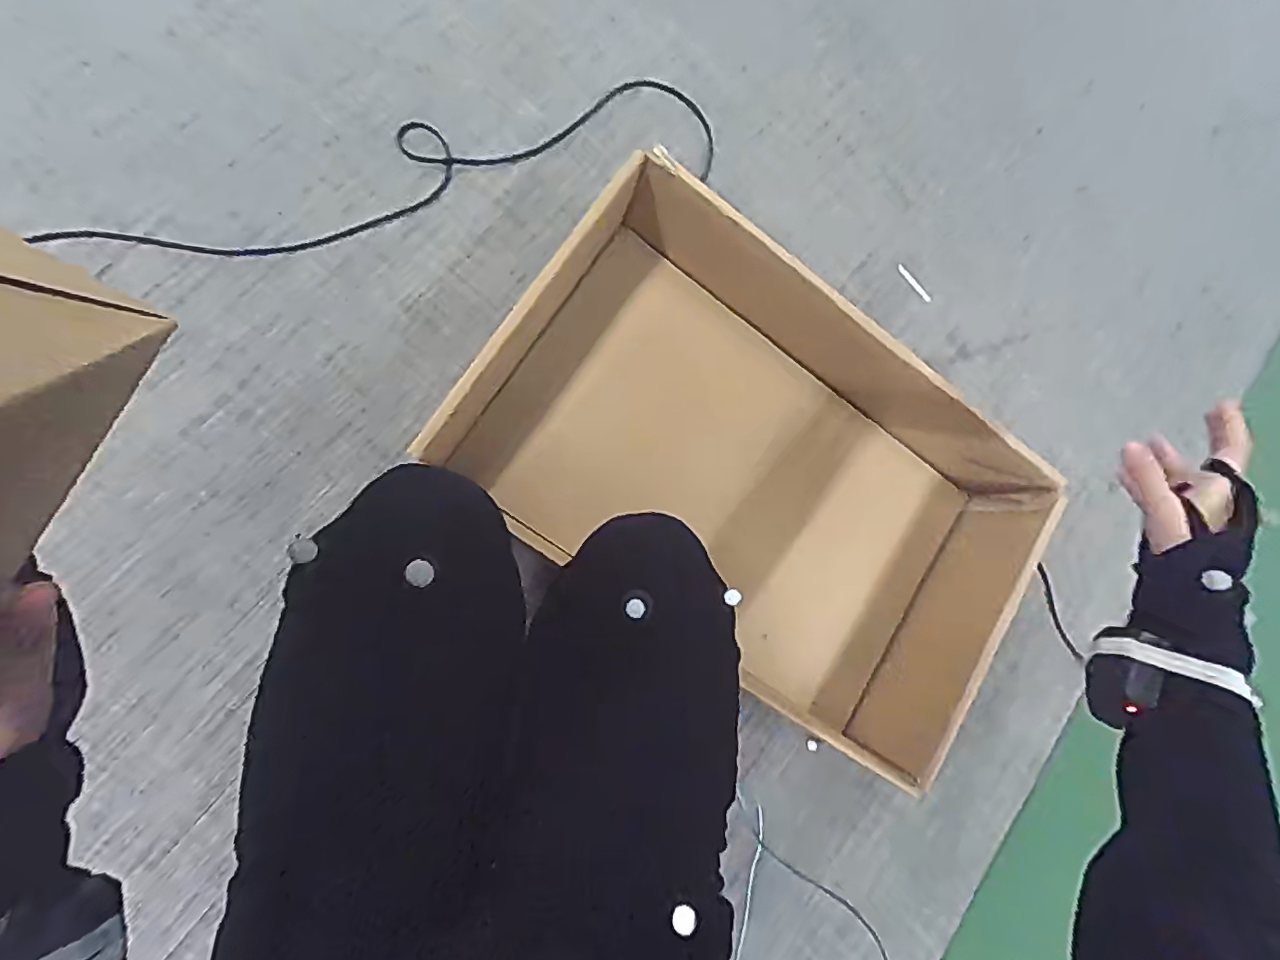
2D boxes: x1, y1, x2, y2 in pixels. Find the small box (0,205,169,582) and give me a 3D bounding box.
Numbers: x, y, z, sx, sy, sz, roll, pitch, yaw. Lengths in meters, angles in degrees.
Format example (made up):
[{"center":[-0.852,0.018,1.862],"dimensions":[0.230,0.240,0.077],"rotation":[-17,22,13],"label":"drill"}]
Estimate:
[{"center":[-0.222,-0.004,0.079],"dimensions":[0.168,0.179,0.176],"rotation":[34,91,-34],"label":"small box"}]
